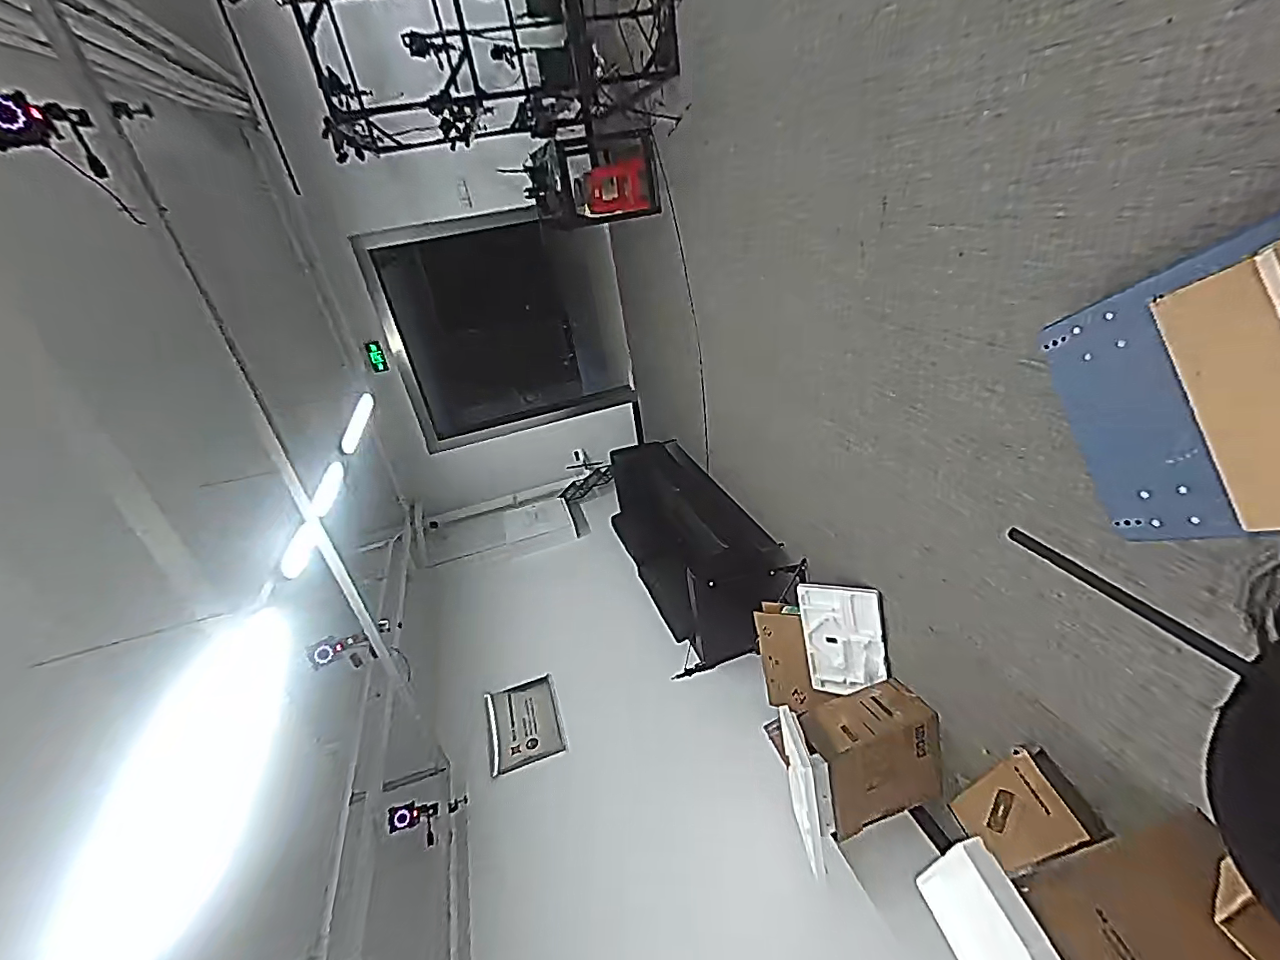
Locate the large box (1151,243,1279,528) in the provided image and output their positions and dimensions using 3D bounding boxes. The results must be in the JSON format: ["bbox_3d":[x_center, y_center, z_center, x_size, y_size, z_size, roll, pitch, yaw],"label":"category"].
[{"bbox_3d":[1.076,-0.172,0.763,0.320,0.320,0.408,136,119,-77],"label":"large box"}]
